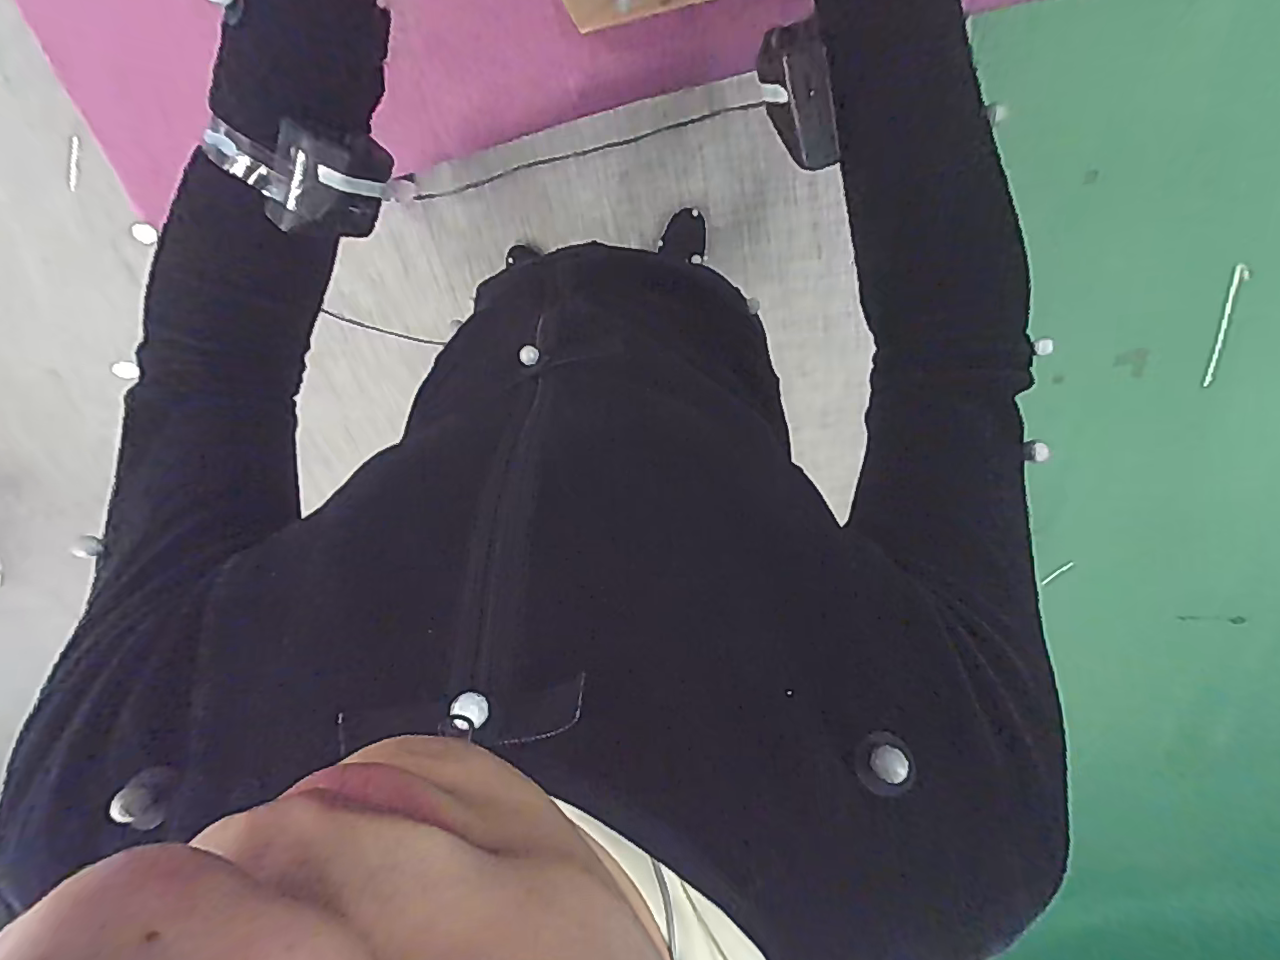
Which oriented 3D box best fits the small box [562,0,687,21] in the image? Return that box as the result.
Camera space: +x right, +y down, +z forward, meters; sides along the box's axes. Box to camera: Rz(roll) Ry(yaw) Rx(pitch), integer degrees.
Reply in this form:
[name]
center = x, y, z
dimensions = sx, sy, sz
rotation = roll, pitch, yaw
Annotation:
[small box]
center = -0.015, -0.579, 0.519
dimensions = 0.168, 0.176, 0.179
rotation = -8, 115, 9
